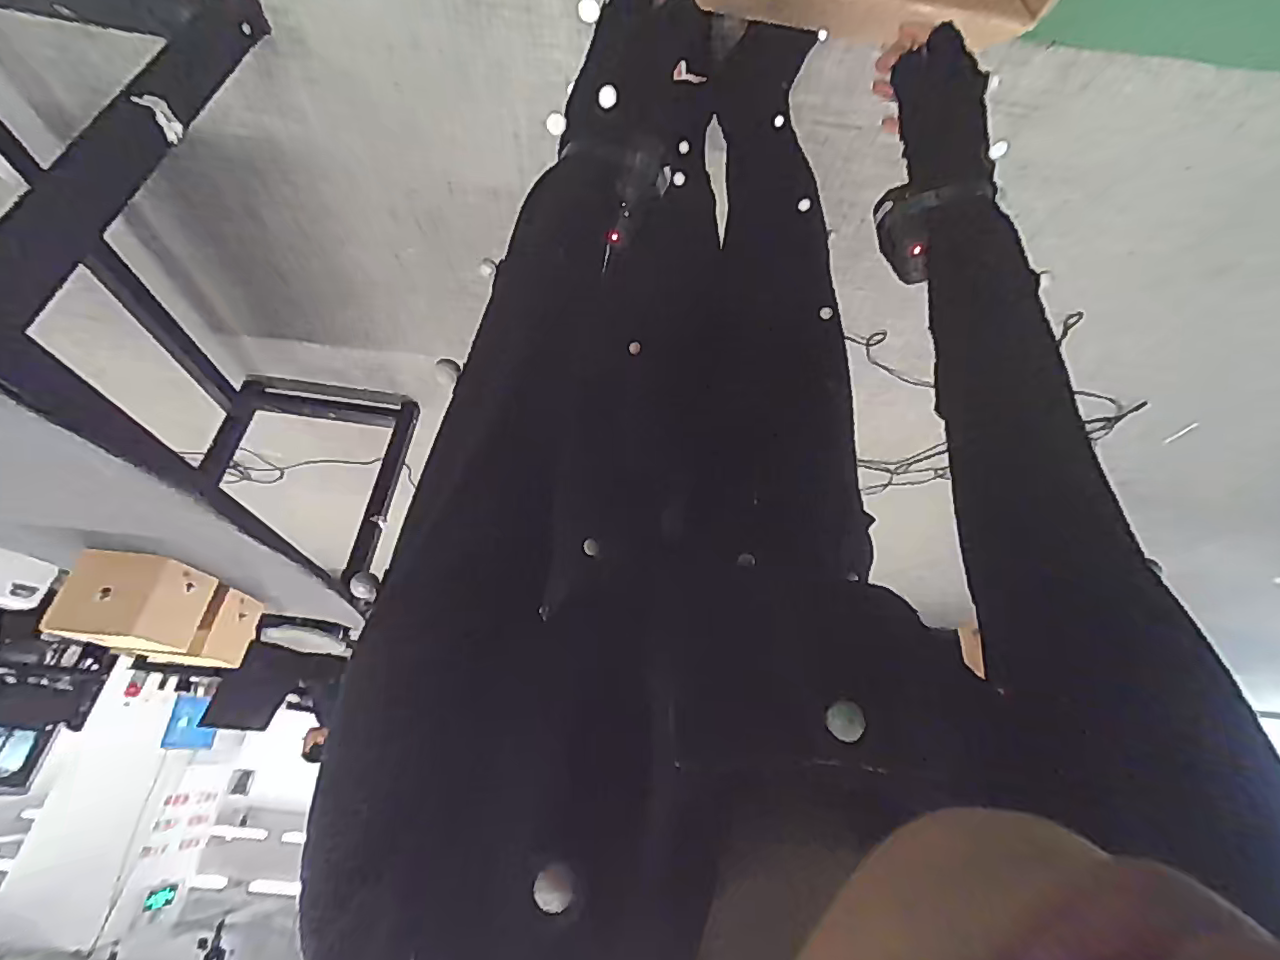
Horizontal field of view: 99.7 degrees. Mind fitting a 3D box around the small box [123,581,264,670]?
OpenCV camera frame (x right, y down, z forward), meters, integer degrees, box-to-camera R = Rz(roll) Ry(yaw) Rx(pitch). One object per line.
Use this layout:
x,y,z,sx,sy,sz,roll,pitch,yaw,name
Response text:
-1.076,0.355,1.321,0.179,0.176,0.168,7,152,-3,small box
